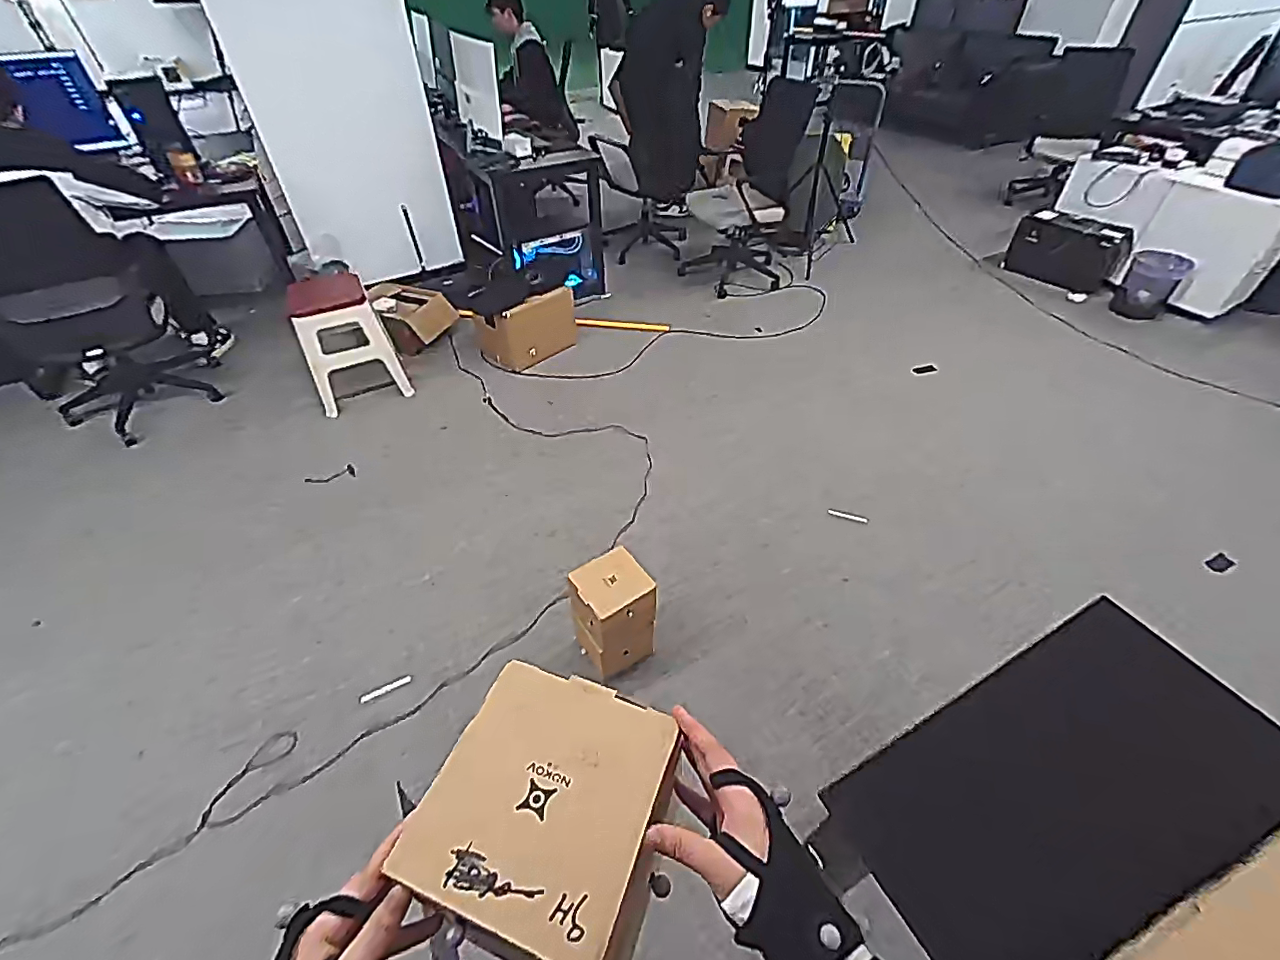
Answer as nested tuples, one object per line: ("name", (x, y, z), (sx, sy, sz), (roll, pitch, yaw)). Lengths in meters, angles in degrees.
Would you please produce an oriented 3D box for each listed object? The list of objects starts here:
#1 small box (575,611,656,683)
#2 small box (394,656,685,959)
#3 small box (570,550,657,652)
("small box", (-0.070, 0.447, 1.562), (0.179, 0.176, 0.168), (-25, 49, -22))
("small box", (-0.068, 0.292, 0.466), (0.168, 0.176, 0.179), (12, 42, 18))
("small box", (-0.068, 0.327, 1.452), (0.179, 0.176, 0.168), (-26, 51, -25))
